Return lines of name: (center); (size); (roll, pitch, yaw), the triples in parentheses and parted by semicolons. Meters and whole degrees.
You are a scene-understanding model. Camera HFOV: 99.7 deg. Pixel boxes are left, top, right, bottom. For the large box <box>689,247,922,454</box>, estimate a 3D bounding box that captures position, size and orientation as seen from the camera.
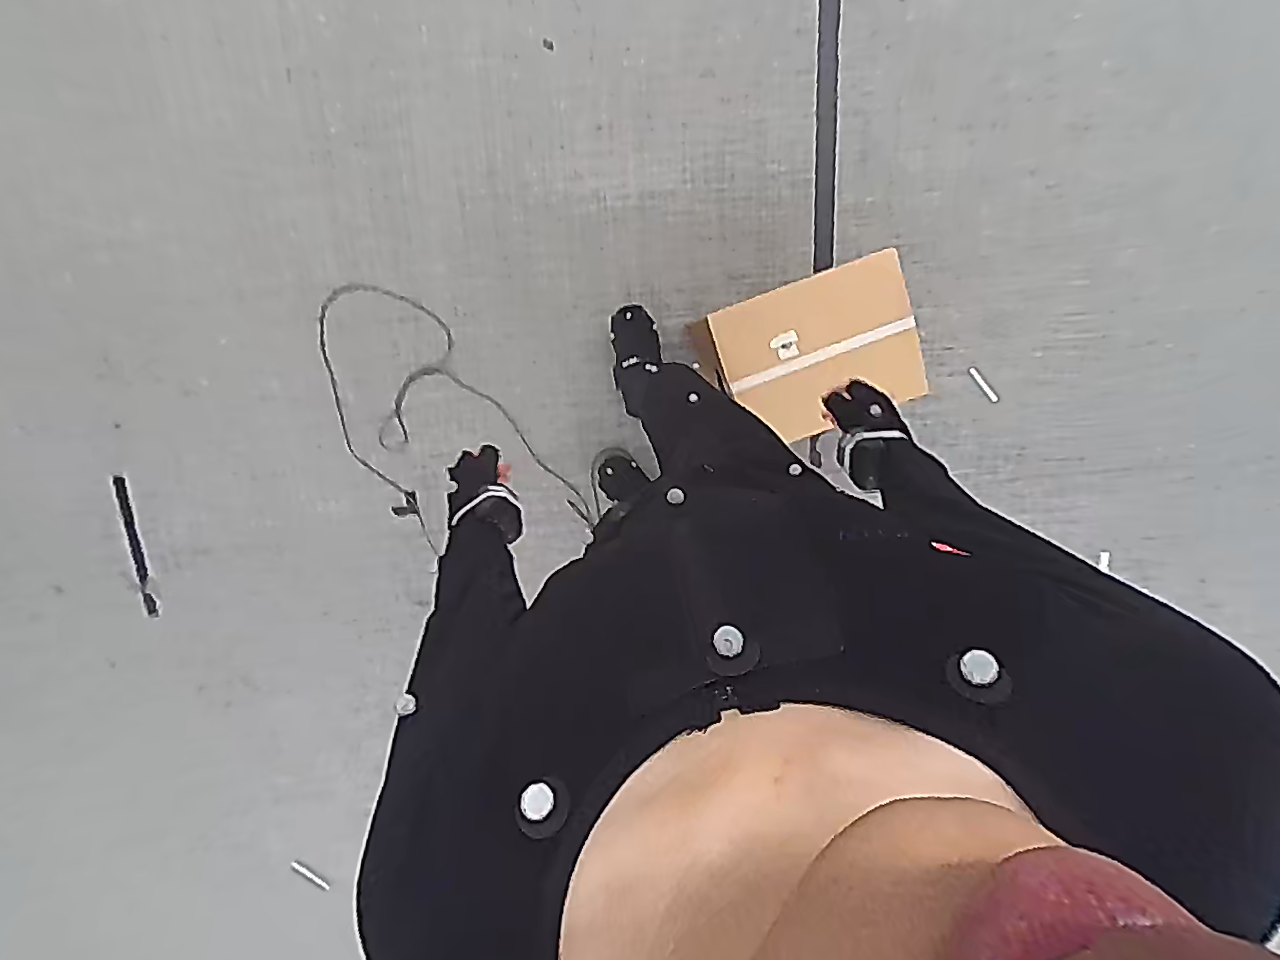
large box: (0.366, -0.300, 1.276); (0.408, 0.320, 0.320); (-20, 103, 3)
